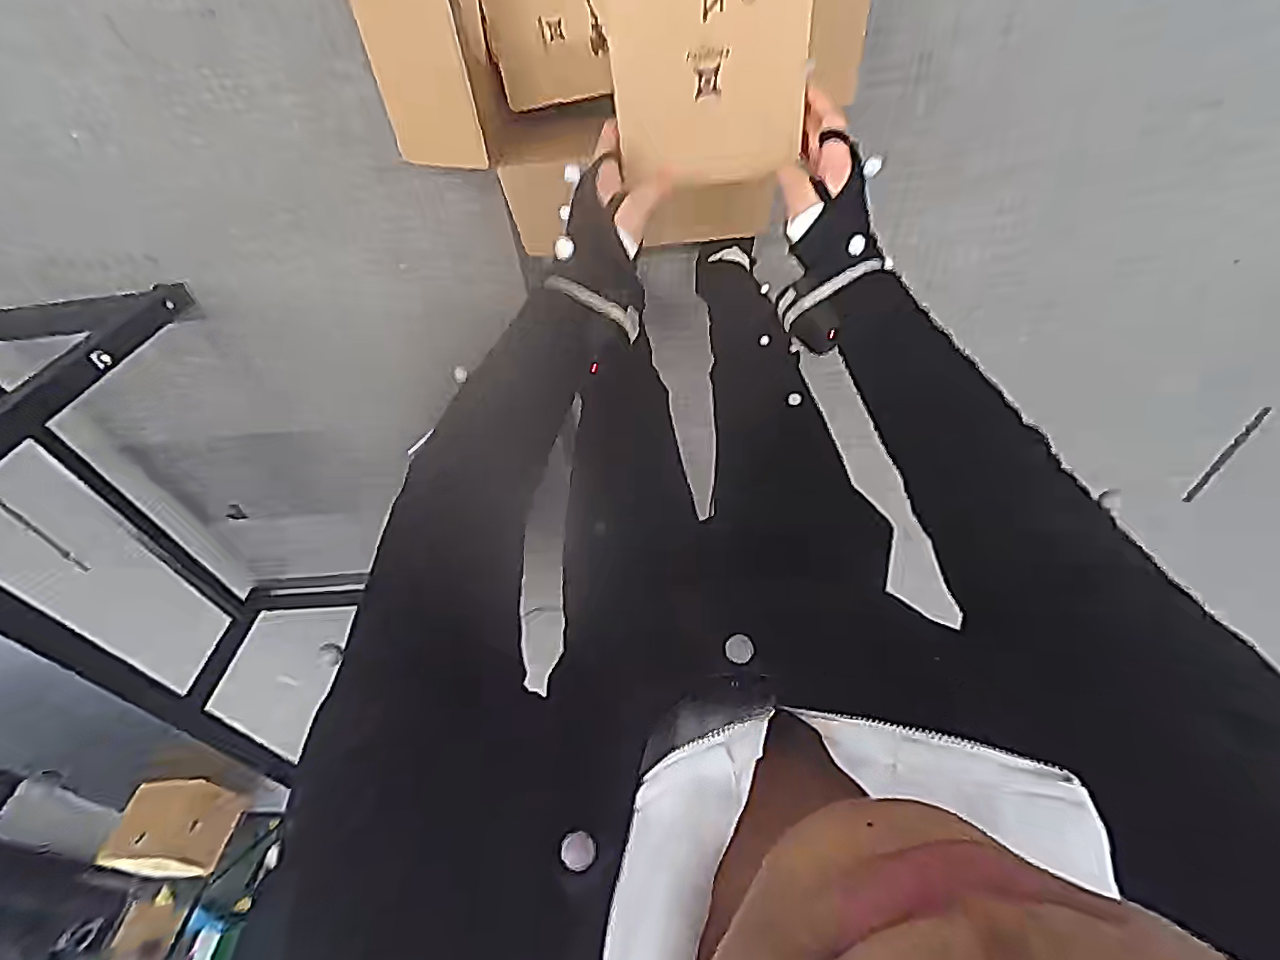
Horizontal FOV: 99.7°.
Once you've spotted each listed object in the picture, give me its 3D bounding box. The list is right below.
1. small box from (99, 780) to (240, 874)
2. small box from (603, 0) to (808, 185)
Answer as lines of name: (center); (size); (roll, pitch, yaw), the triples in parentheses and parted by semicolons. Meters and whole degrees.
small box: (-1.138, 0.853, 1.332); (0.179, 0.176, 0.168); (-7, 133, 9)
small box: (0.060, -0.406, 0.518); (0.168, 0.176, 0.179); (-3, 131, 6)
